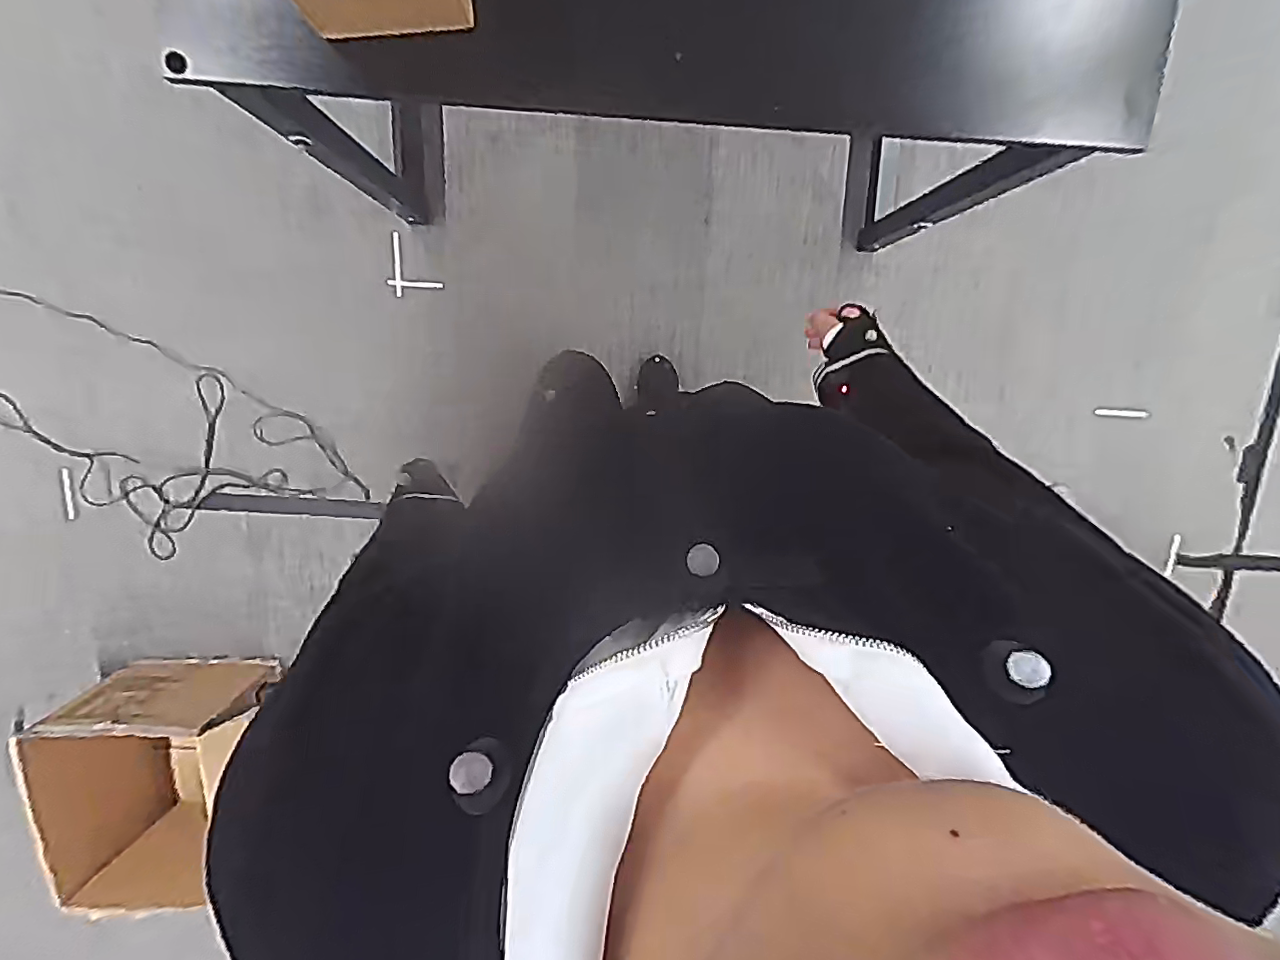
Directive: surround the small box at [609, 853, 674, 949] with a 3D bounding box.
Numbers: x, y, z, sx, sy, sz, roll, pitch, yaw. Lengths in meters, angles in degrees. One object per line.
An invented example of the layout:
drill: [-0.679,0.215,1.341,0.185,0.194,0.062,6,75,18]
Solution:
small box: [0.000,1.279,1.651,0.179,0.176,0.168,7,99,-3]
